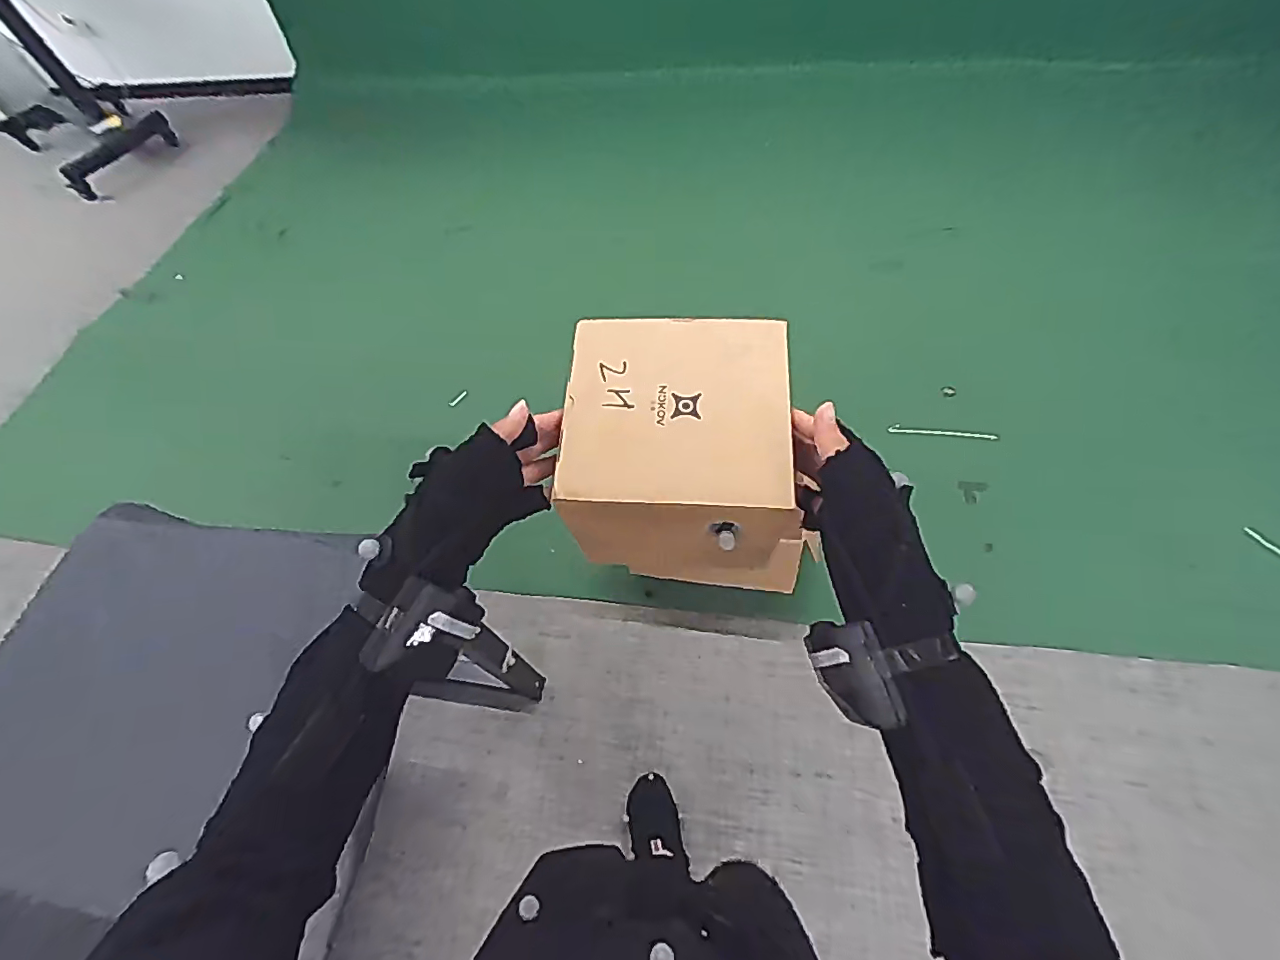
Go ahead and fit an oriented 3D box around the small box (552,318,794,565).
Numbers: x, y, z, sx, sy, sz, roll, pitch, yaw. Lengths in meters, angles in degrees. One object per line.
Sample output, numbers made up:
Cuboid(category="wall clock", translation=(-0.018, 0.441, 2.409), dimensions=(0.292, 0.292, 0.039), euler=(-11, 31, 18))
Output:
Cuboid(category="small box", translation=(0.034, -0.025, 0.490), dimensions=(0.179, 0.176, 0.168), euler=(2, 66, 6))
